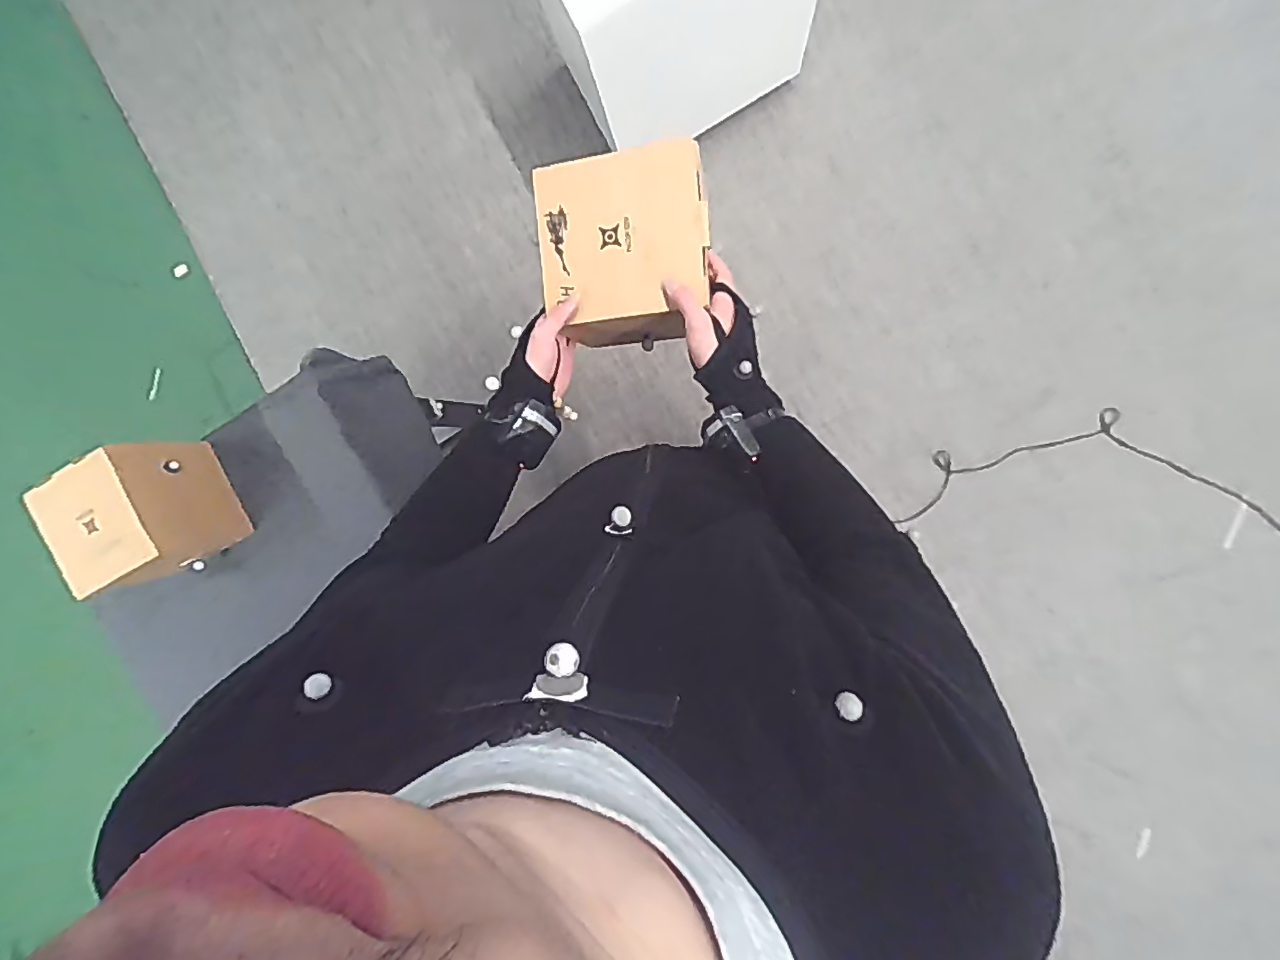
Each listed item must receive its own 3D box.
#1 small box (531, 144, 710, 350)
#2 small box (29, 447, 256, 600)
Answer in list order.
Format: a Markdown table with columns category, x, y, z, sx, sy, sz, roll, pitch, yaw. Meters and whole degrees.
| category | x | y | z | sx | sy | sz | roll | pitch | yaw |
| --- | --- | --- | --- | --- | --- | --- | --- | --- | --- |
| small box | -0.010 | -0.253 | 0.630 | 0.179 | 0.176 | 0.168 | -4 | 93 | 11 |
| small box | -0.770 | 0.059 | 0.854 | 0.168 | 0.176 | 0.179 | -27 | 92 | 10 |
